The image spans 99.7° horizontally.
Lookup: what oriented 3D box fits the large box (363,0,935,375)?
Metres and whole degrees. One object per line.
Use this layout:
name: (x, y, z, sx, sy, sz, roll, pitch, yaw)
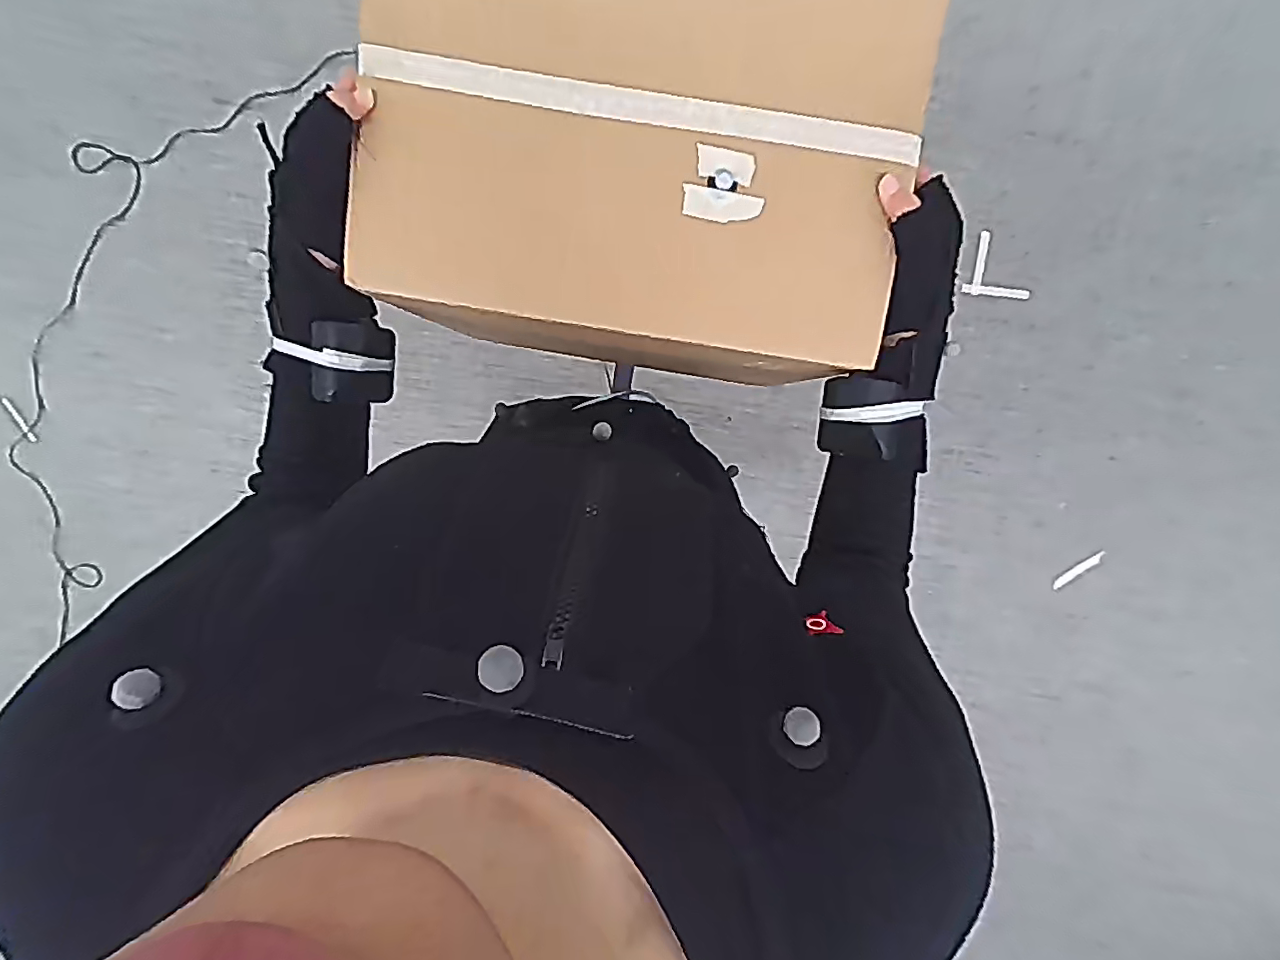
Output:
large box: (0.001, -0.295, 0.546, 0.408, 0.320, 0.320, 9, 98, -2)
